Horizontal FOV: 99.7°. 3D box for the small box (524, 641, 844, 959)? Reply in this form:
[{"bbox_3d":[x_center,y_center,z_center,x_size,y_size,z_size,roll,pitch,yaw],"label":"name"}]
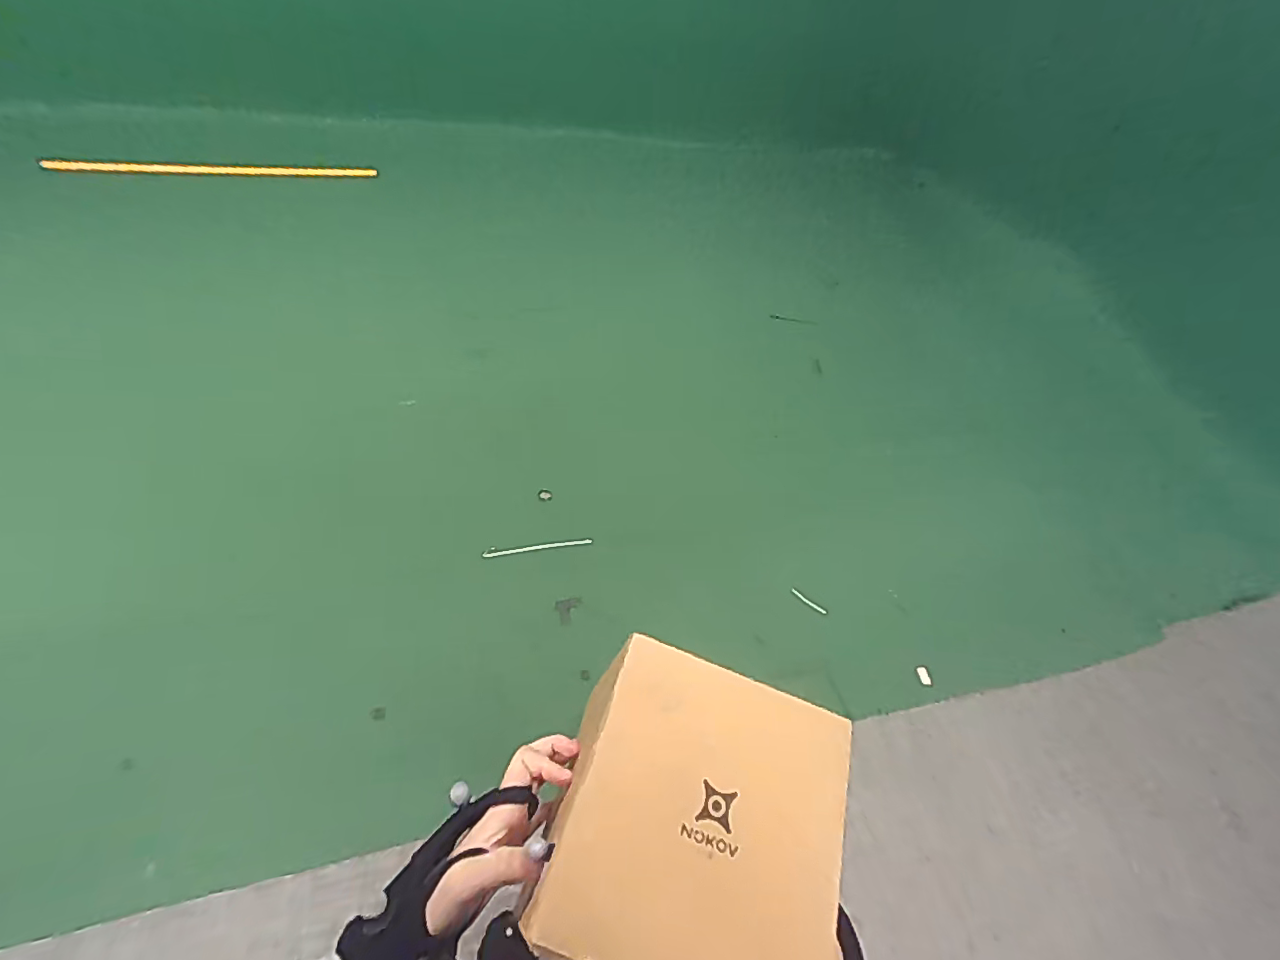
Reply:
[{"bbox_3d":[0.025,0.250,0.393,0.168,0.176,0.179,22,53,-1],"label":"small box"}]
